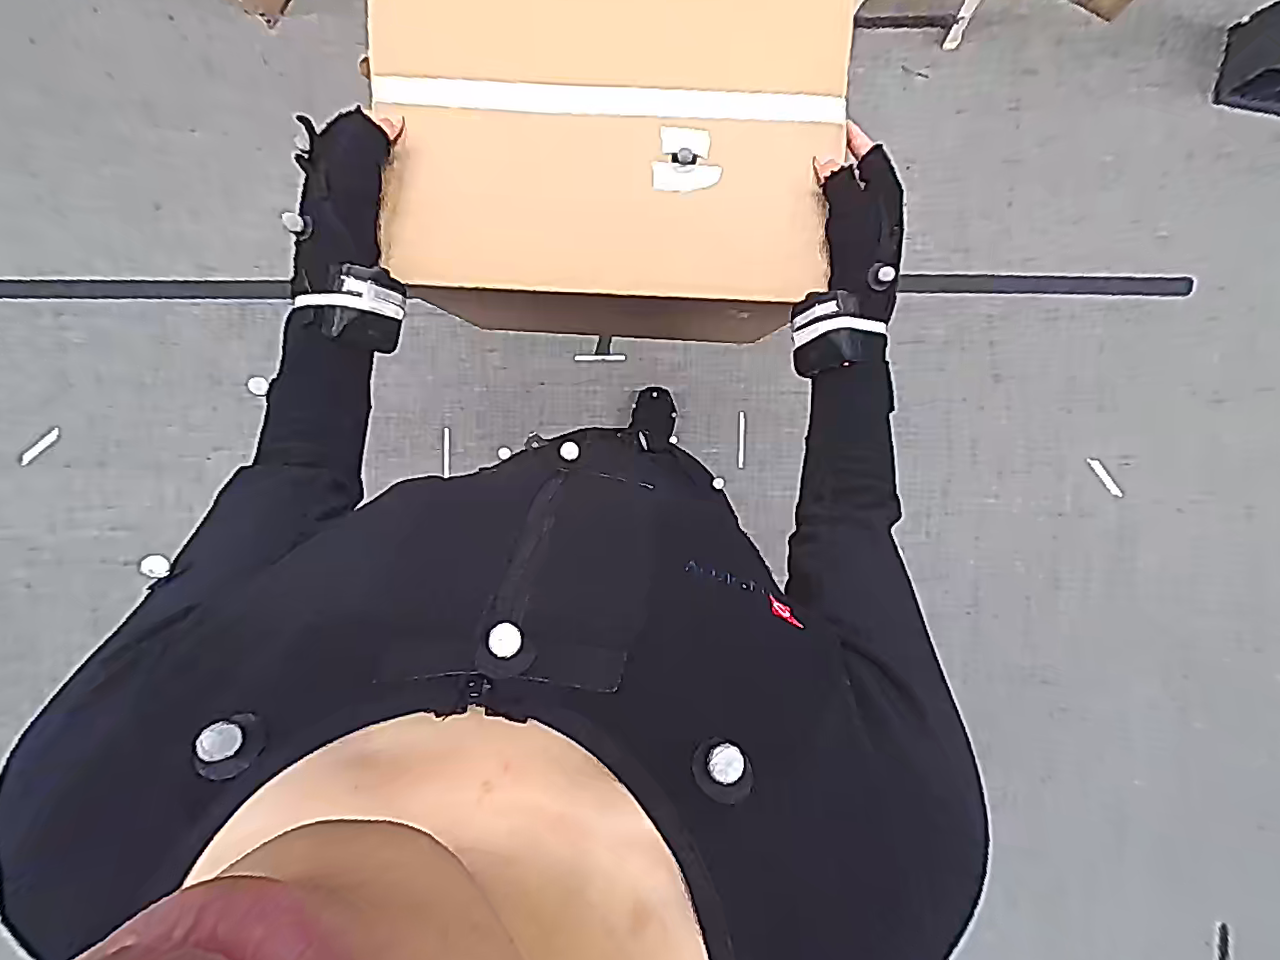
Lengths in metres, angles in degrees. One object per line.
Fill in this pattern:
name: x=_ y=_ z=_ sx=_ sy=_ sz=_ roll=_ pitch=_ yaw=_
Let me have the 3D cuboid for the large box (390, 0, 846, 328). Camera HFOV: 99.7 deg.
large box: x=-0.024 y=-0.358 z=0.629 sx=0.408 sy=0.320 sz=0.320 roll=2 pitch=99 yaw=-1
